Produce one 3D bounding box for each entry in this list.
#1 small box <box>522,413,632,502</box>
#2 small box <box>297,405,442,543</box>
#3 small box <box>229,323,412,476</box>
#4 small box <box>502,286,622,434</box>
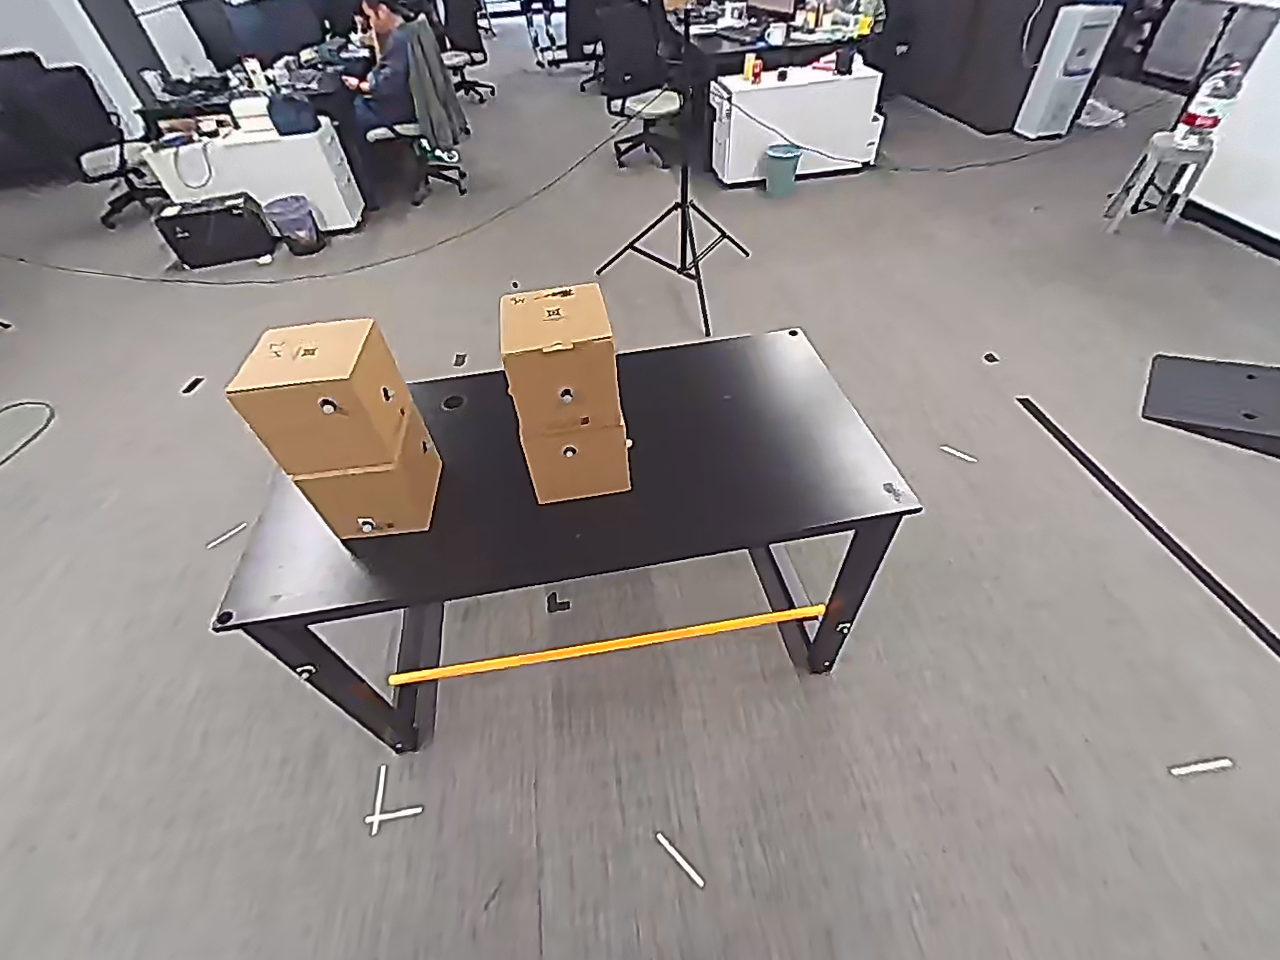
[{"bbox_3d":[-0.117,-0.076,1.010,0.179,0.176,0.168,-9,47,-5],"label":"small box"},{"bbox_3d":[-0.472,-0.010,0.979,0.168,0.176,0.179,-8,48,-1],"label":"small box"},{"bbox_3d":[-0.488,-0.126,0.862,0.179,0.176,0.168,-8,46,-1],"label":"small box"},{"bbox_3d":[-0.126,-0.191,0.893,0.168,0.176,0.179,-10,48,-4],"label":"small box"}]
